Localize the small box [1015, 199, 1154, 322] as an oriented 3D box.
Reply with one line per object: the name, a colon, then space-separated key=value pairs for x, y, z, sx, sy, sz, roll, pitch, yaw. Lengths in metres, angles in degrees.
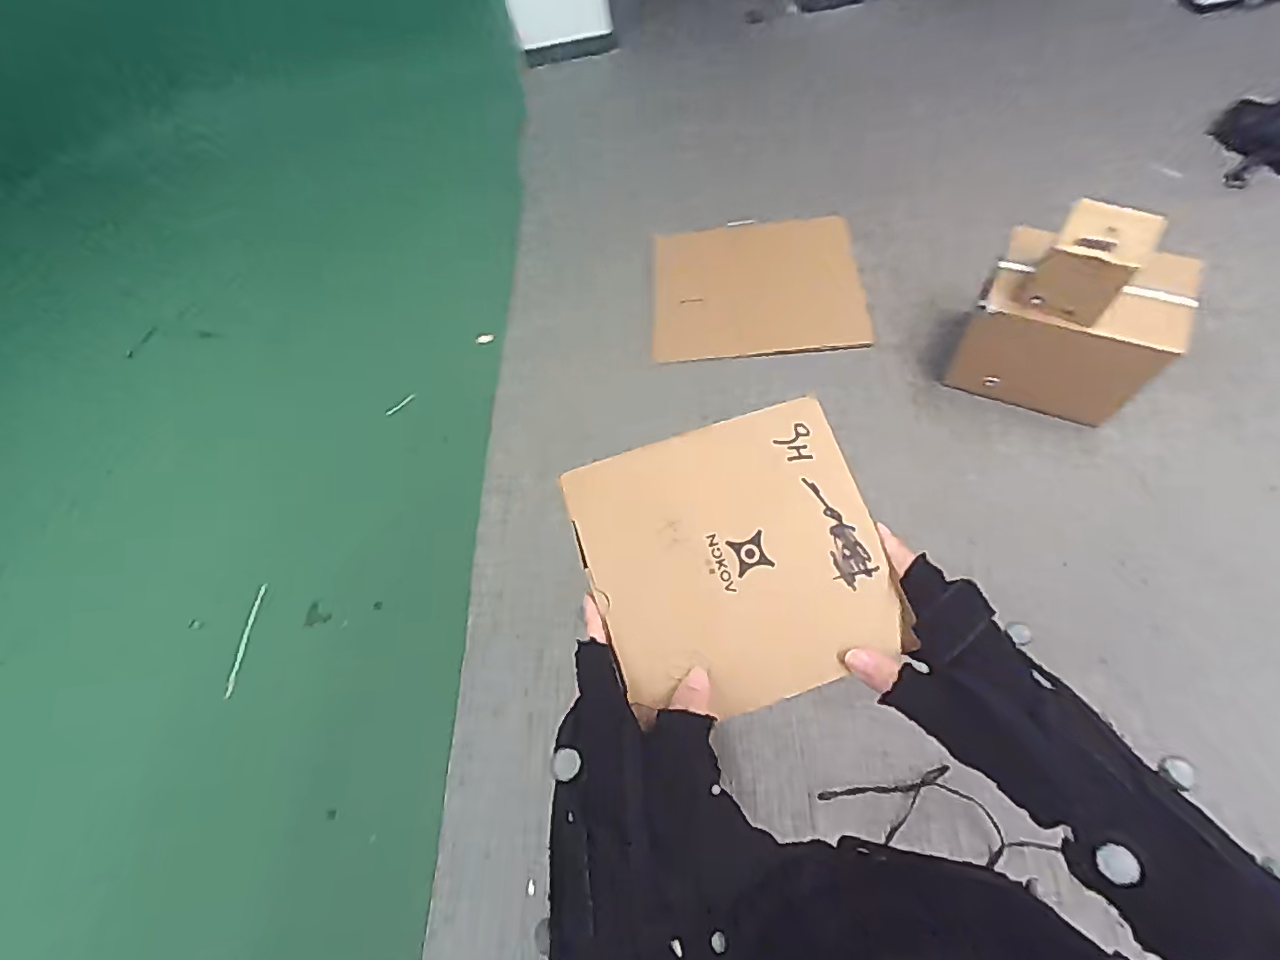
small box: x=0.993 y=-0.492 z=1.226 sx=0.168 sy=0.176 sz=0.179 roll=29 pitch=71 yaw=22

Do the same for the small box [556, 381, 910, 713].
small box: x=0.054 y=0.057 z=0.409 sx=0.179 sy=0.176 sz=0.168 roll=-20 pitch=74 yaw=-6
